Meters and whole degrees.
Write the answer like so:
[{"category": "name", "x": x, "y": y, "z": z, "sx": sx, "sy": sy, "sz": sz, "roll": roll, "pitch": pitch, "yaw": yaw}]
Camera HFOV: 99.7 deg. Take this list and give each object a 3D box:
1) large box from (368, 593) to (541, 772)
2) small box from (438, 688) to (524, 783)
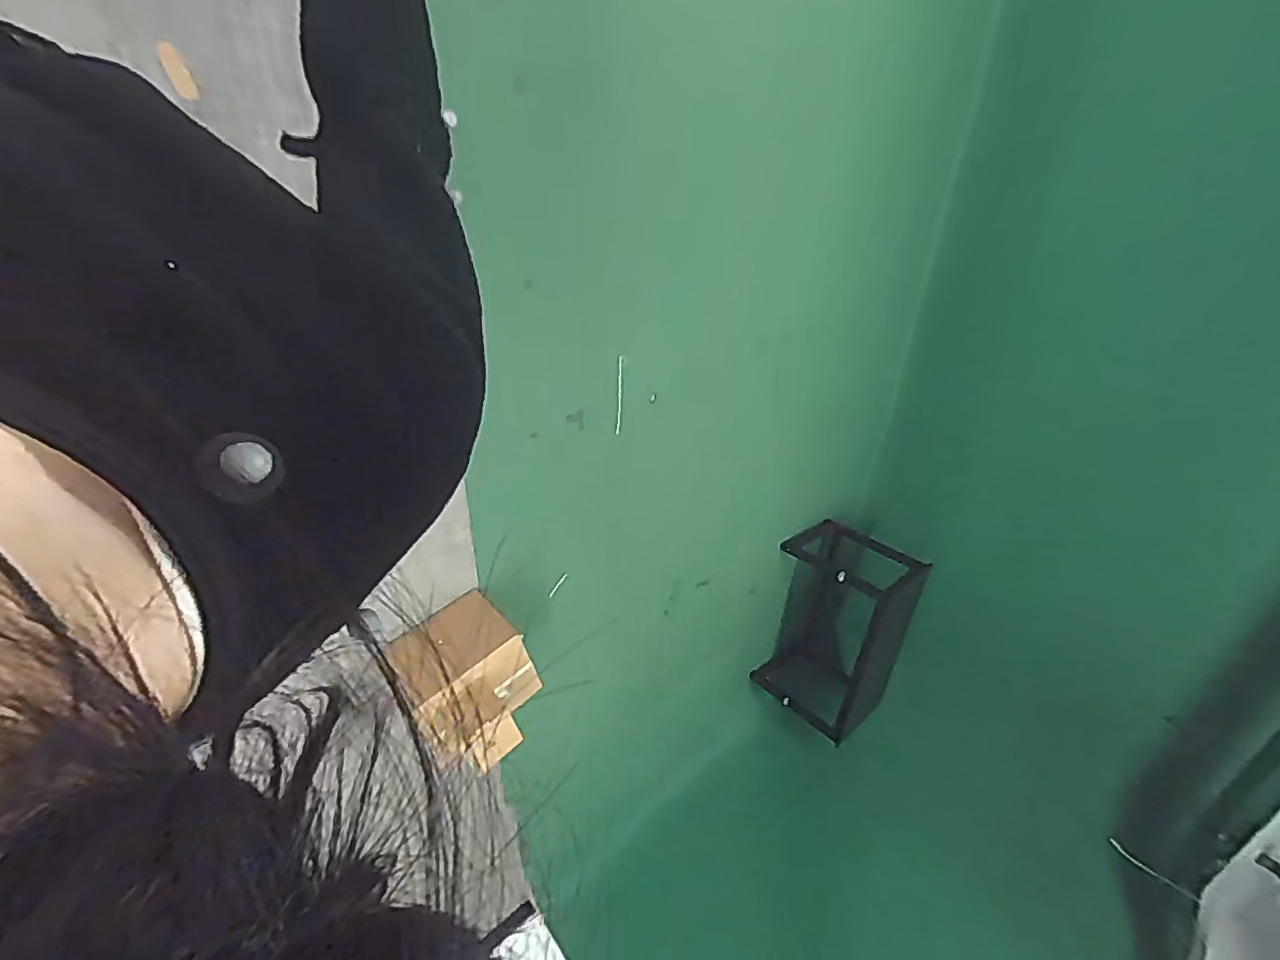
[{"category": "large box", "x": -0.618, "y": 0.668, "z": 1.833, "sx": 0.408, "sy": 0.320, "sz": 0.320, "roll": -35, "pitch": 134, "yaw": -29}, {"category": "small box", "x": -0.486, "y": 0.766, "z": 1.645, "sx": 0.168, "sy": 0.176, "sz": 0.179, "roll": -33, "pitch": 131, "yaw": -29}]
